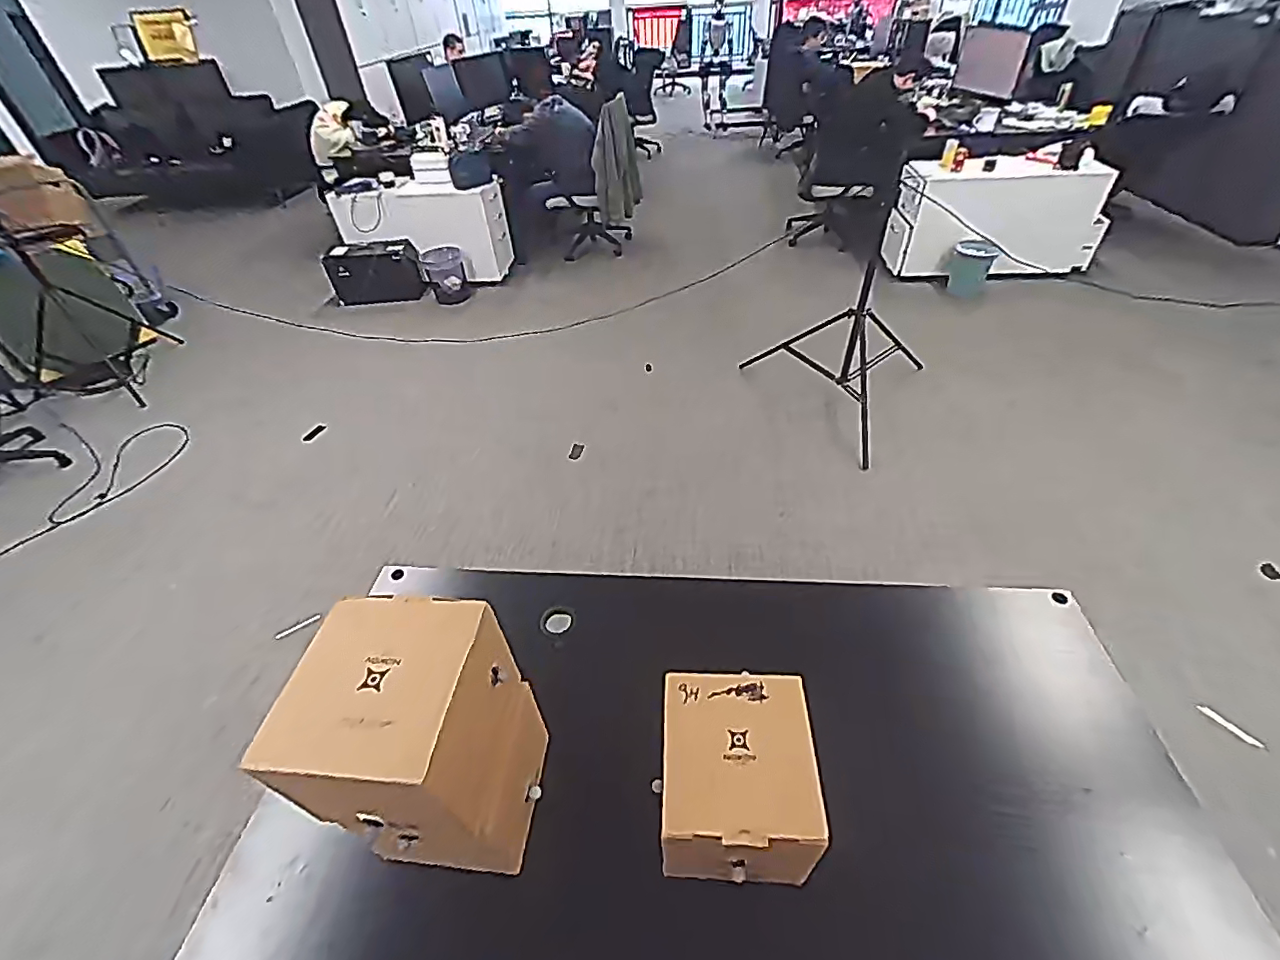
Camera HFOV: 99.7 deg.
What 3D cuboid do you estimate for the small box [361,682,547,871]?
[{"bbox_3d":[-0.228,0.361,0.670,0.179,0.176,0.168,2,43,6],"label":"small box"}]

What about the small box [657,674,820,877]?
[{"bbox_3d":[0.110,0.356,0.652,0.168,0.176,0.179,0,43,5],"label":"small box"}]

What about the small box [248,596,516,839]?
[{"bbox_3d":[-0.239,0.242,0.560,0.168,0.176,0.179,0,43,6],"label":"small box"}]
